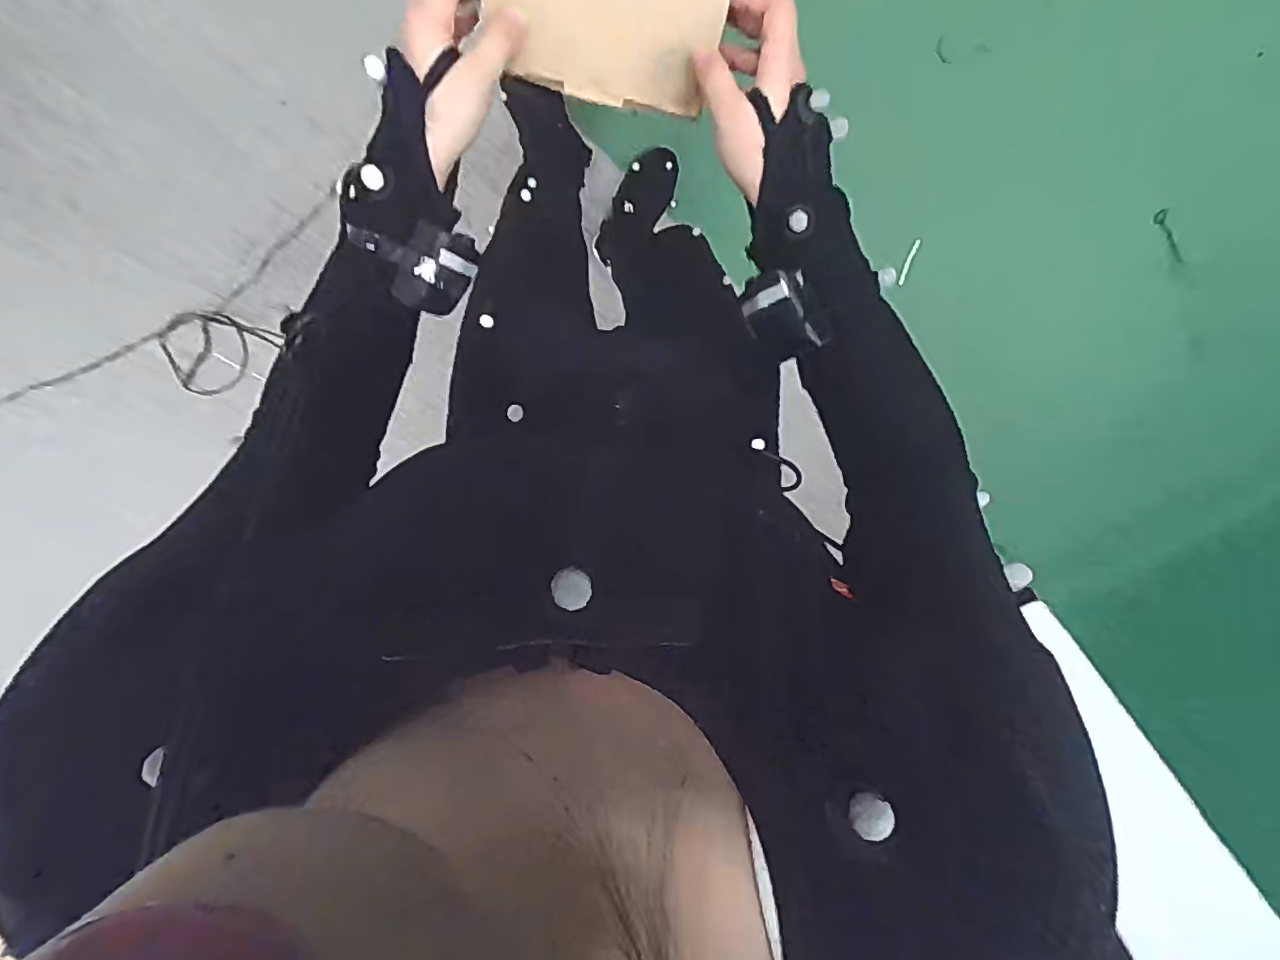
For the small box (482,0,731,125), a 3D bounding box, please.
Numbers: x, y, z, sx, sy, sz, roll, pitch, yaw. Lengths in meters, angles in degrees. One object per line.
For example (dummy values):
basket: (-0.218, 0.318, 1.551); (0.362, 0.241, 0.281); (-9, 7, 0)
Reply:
small box: (-0.017, -0.399, 0.398); (0.168, 0.176, 0.179); (7, 134, -11)
